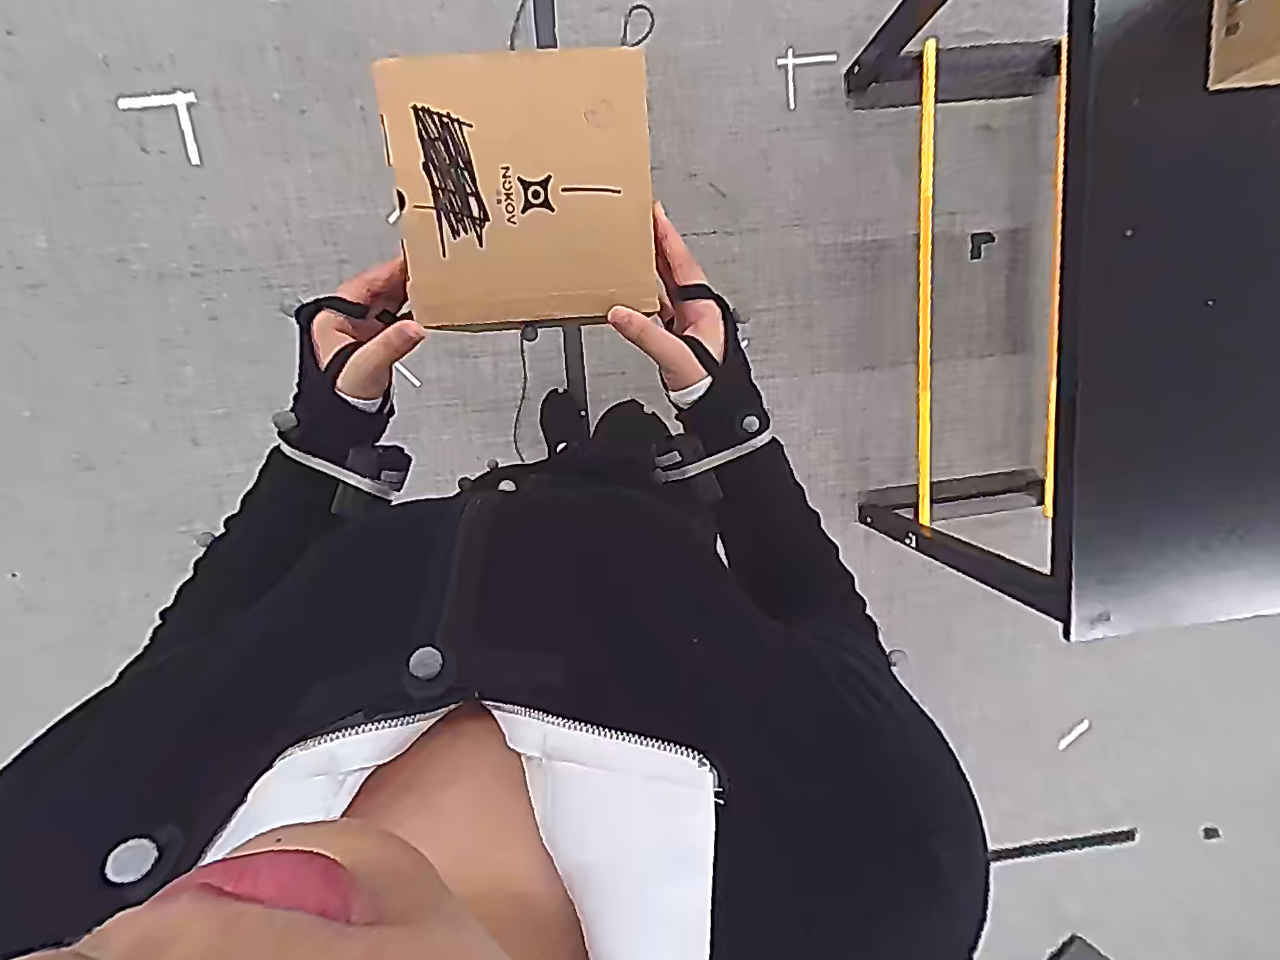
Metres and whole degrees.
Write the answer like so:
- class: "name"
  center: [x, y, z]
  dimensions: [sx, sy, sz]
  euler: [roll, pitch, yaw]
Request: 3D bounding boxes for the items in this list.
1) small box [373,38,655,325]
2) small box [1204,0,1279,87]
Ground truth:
- class: "small box"
  center: [-0.083, -0.218, 0.442]
  dimensions: [0.179, 0.176, 0.168]
  euler: [-5, 105, -2]
- class: "small box"
  center: [0.846, -0.607, 0.644]
  dimensions: [0.179, 0.176, 0.168]
  euler: [-8, 99, -2]
